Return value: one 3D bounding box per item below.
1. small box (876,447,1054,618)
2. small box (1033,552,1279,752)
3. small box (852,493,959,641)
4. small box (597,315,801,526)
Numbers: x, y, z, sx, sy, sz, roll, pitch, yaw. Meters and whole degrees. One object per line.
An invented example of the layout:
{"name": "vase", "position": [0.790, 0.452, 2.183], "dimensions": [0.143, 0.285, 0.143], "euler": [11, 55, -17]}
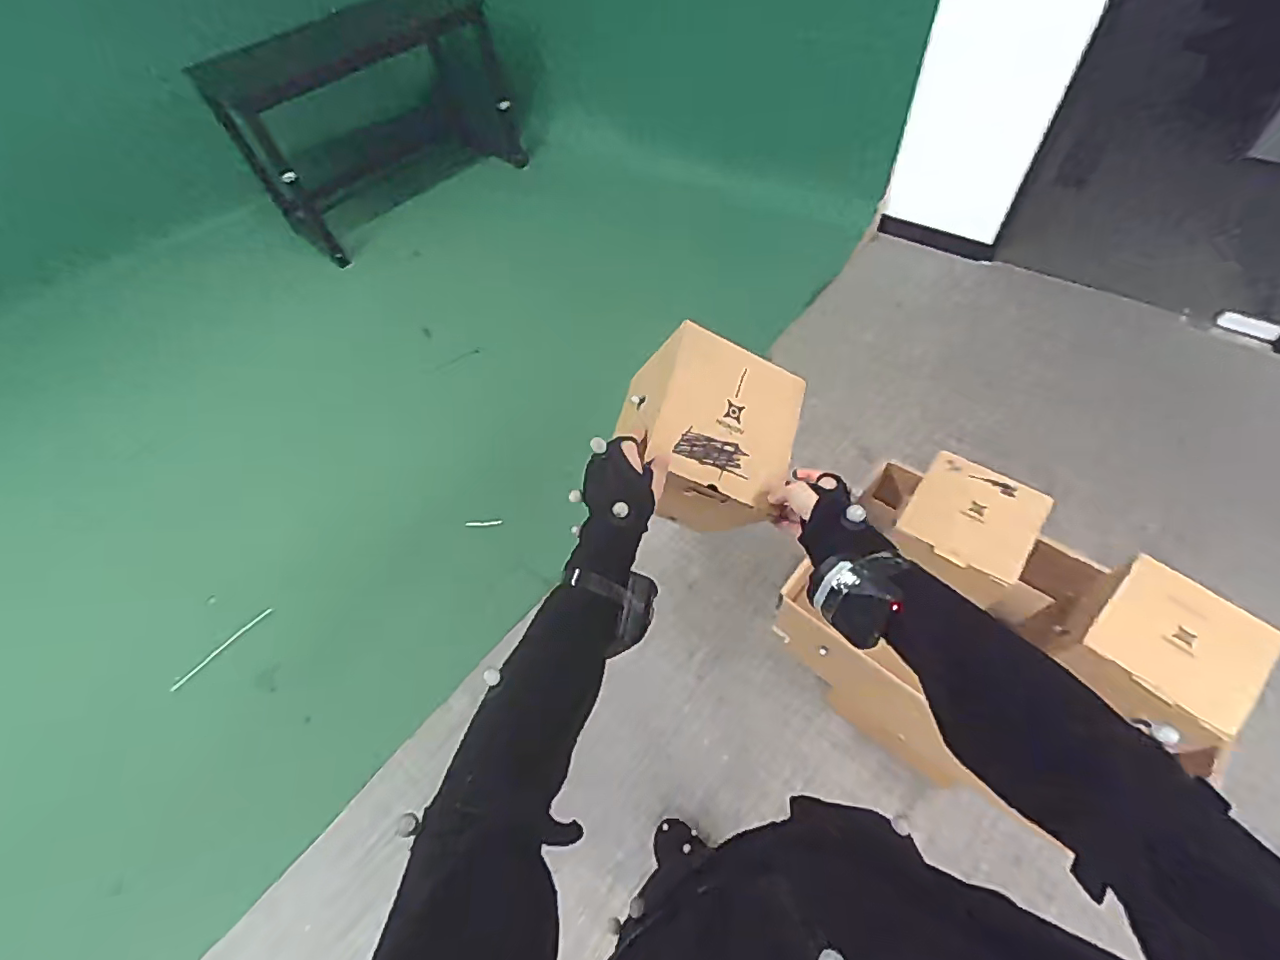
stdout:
{"name": "small box", "position": [0.496, 0.088, 0.854], "dimensions": [0.168, 0.176, 0.179], "euler": [32, 66, 24]}
{"name": "small box", "position": [0.683, 0.239, 0.735], "dimensions": [0.179, 0.176, 0.168], "euler": [-39, 61, -18]}
{"name": "small box", "position": [0.515, 0.164, 0.999], "dimensions": [0.168, 0.176, 0.179], "euler": [31, 65, 25]}
{"name": "small box", "position": [0.062, -0.056, 0.652], "dimensions": [0.168, 0.176, 0.179], "euler": [23, 70, -16]}
